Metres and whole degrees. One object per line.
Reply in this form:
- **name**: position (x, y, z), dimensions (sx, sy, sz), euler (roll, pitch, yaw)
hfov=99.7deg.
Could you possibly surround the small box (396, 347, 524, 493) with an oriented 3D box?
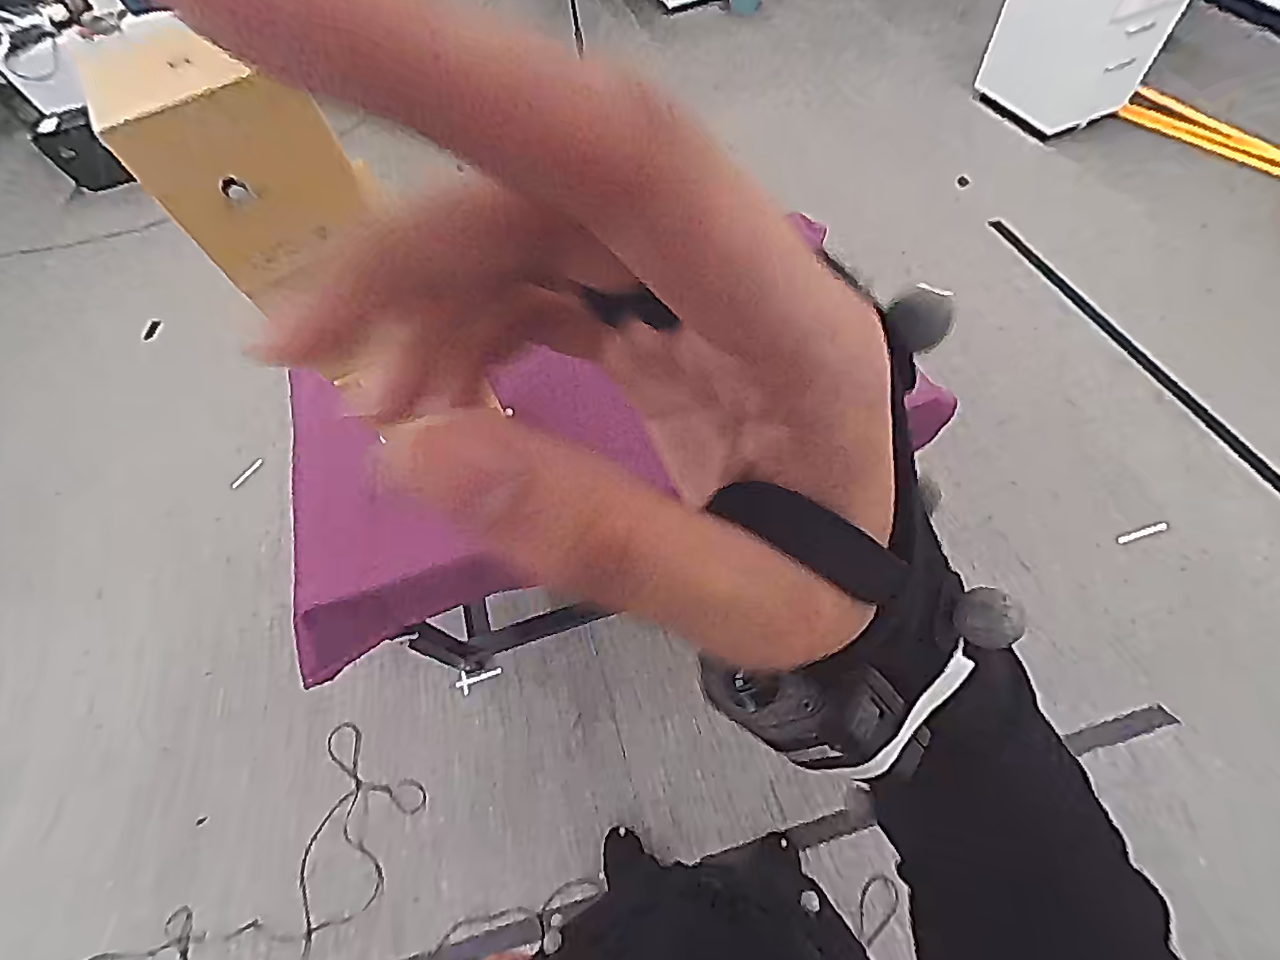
- **small box**: position (-0.337, -0.103, 0.988), dimensions (0.179, 0.176, 0.168), euler (-26, 61, -9)

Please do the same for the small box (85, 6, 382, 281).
- **small box**: position (-0.402, -0.335, 0.558), dimensions (0.168, 0.176, 0.179), euler (-33, 61, -12)
